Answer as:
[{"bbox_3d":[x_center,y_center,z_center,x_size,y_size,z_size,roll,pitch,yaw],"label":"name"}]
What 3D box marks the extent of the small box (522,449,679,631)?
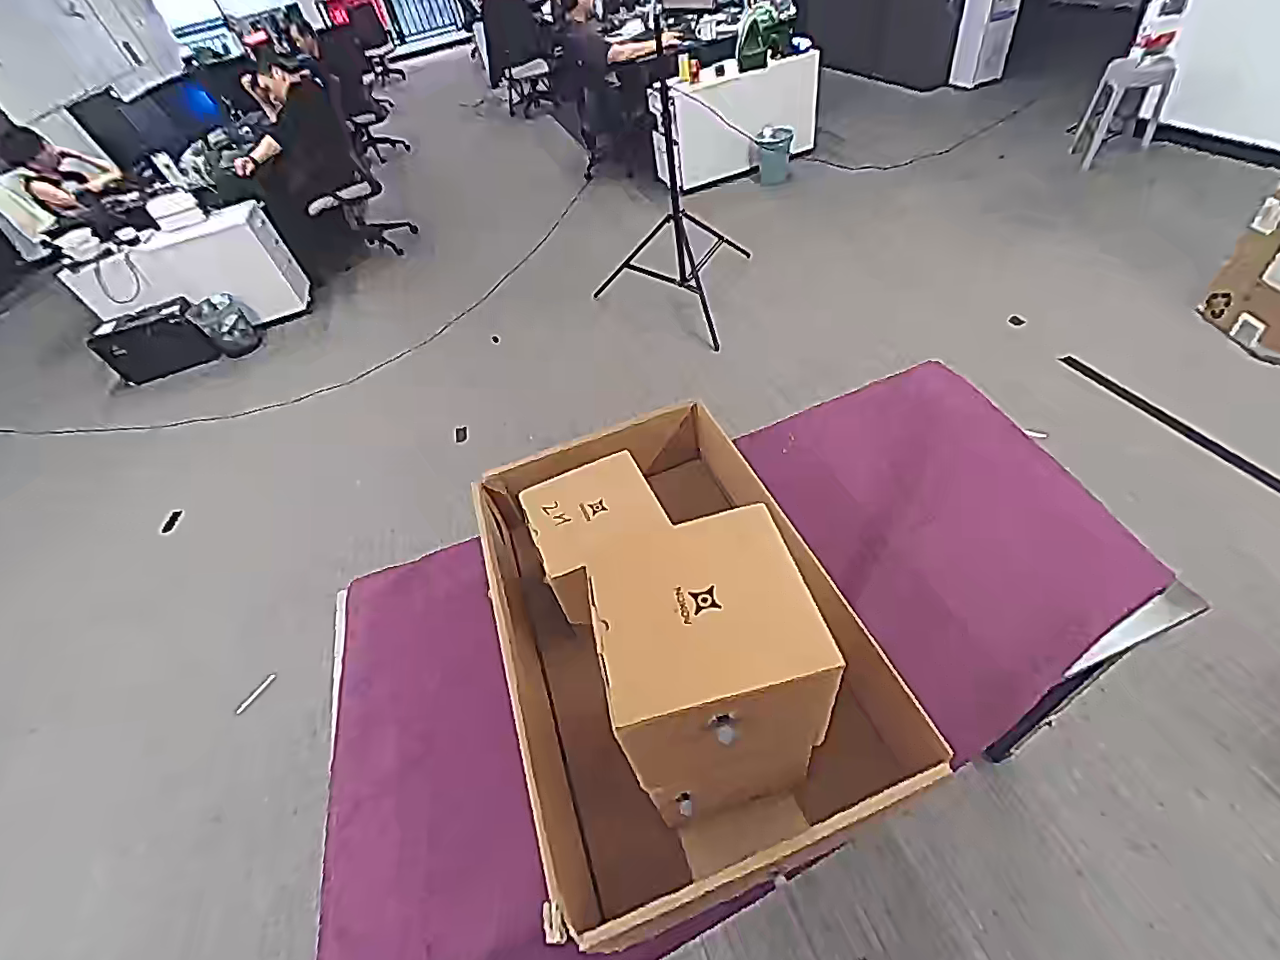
[{"bbox_3d":[-0.052,0.090,0.796,0.179,0.176,0.168,-22,48,-10],"label":"small box"}]
